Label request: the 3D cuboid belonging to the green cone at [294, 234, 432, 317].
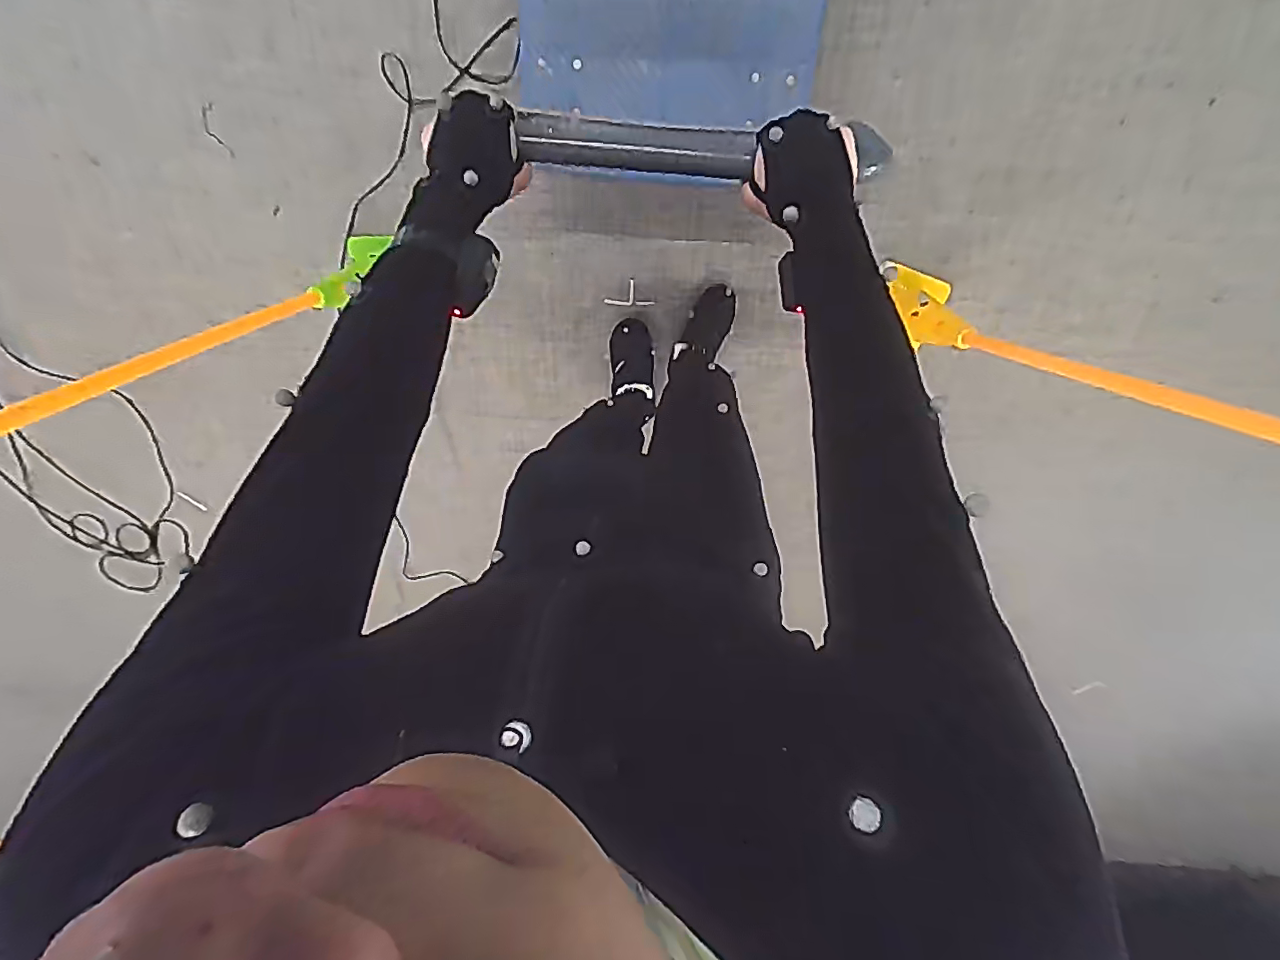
[{"bbox_3d":[-0.662,-0.450,1.247,0.202,0.368,0.200,0,116,4],"label":"green cone"}]
